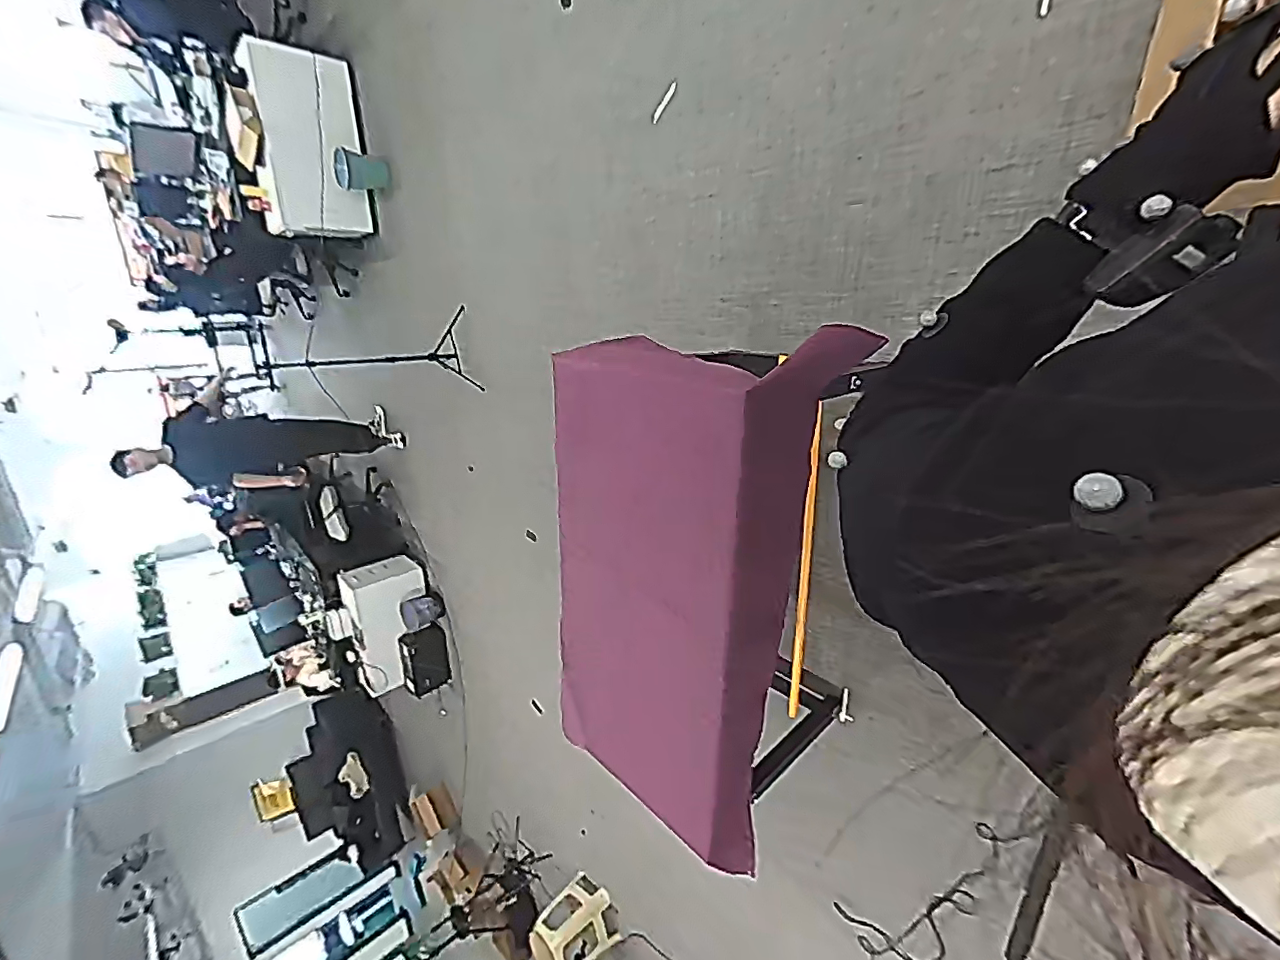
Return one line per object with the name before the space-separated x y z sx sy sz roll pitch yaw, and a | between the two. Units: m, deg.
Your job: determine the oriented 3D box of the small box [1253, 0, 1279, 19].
small box | 0.692 -0.562 0.483 0.179 0.176 0.168 7 112 43
